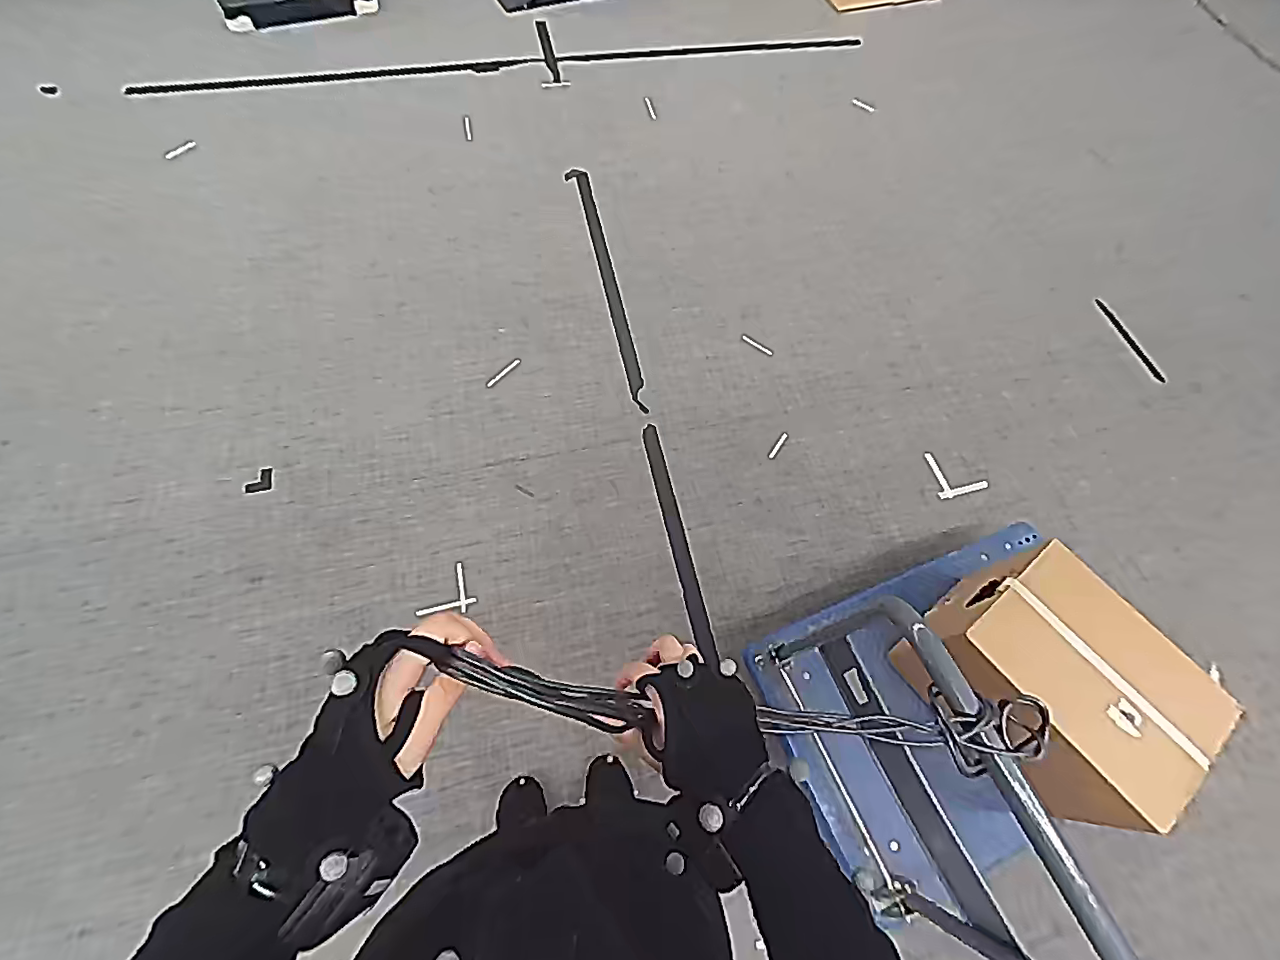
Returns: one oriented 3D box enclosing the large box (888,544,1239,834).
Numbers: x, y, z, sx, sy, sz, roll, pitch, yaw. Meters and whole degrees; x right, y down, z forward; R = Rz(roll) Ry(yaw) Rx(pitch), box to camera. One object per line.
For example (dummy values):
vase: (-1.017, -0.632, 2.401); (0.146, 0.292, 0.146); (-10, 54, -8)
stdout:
large box: (0.814, 0.410, 1.102); (0.320, 0.320, 0.408); (-34, 72, -18)
